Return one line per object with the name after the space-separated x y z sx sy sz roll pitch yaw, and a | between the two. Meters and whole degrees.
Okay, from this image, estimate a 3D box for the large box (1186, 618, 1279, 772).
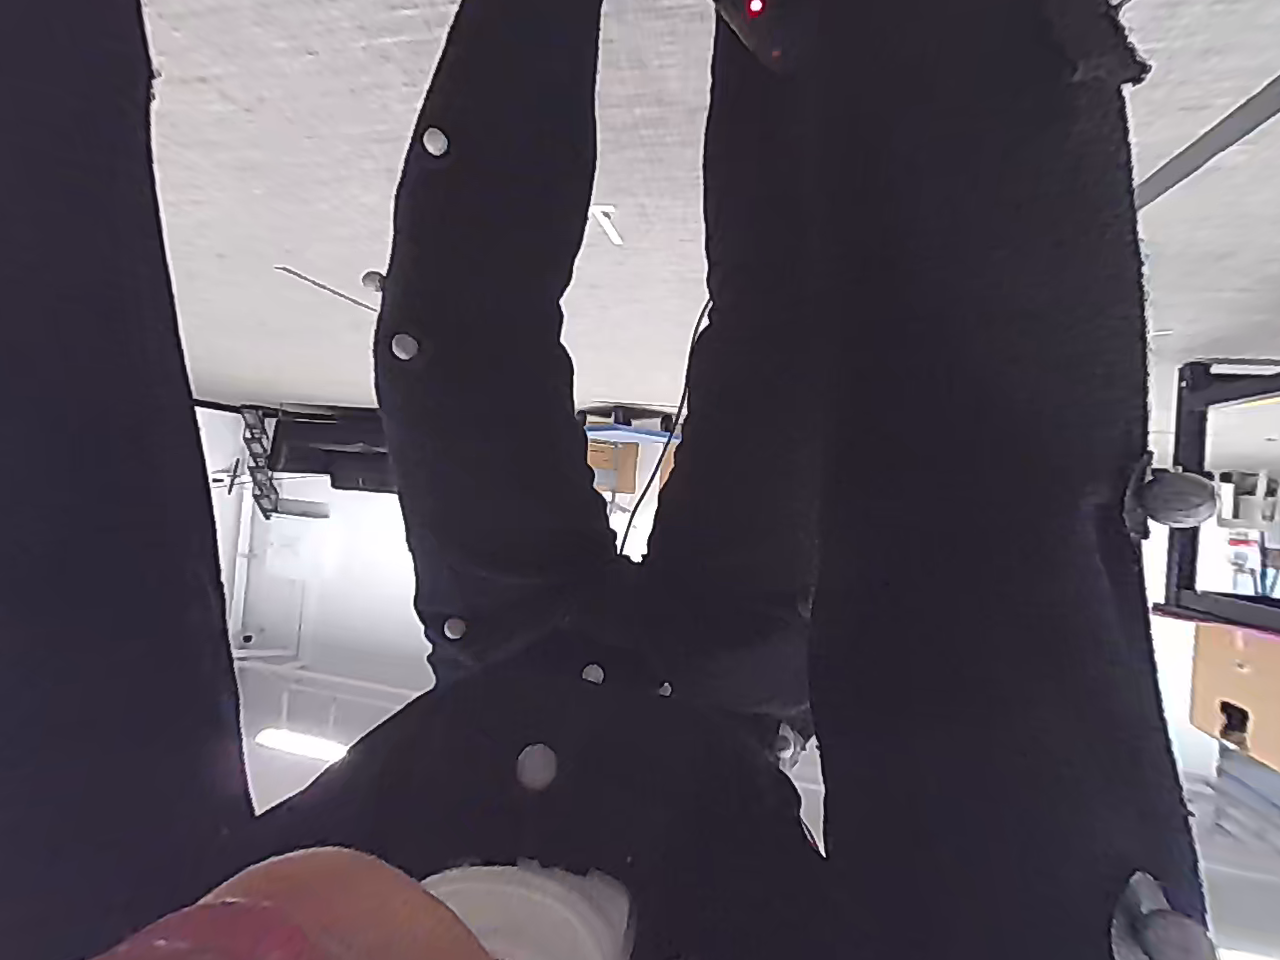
1.724 0.550 1.357 0.408 0.320 0.320 3 180 13 | large box
